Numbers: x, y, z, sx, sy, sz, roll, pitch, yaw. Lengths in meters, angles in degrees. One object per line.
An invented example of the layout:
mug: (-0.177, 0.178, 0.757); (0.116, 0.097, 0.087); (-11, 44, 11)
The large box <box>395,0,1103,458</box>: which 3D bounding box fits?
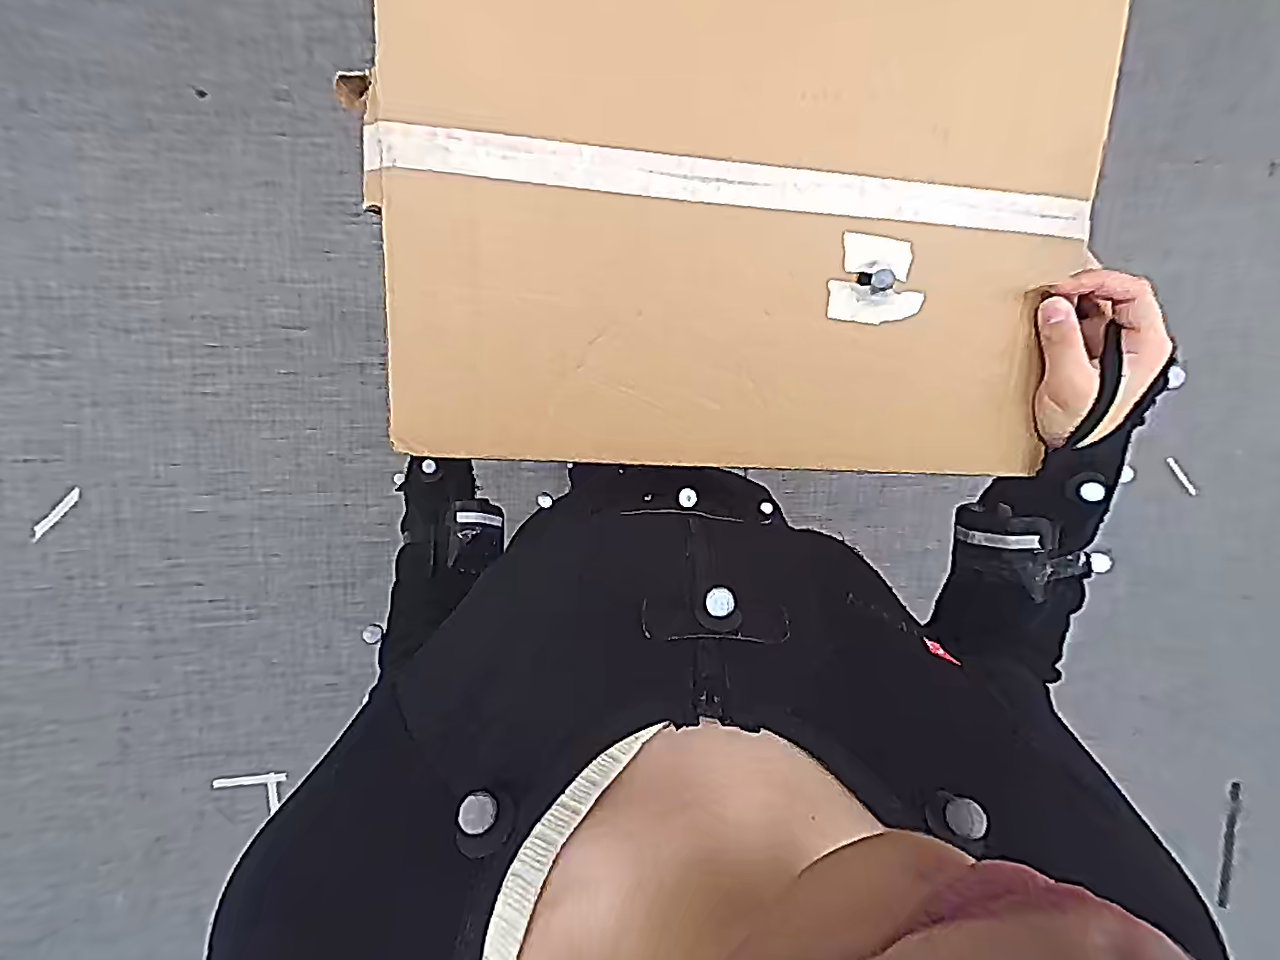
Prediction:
large box: (0.047, -0.194, 0.452); (0.408, 0.320, 0.320); (1, 101, -10)
